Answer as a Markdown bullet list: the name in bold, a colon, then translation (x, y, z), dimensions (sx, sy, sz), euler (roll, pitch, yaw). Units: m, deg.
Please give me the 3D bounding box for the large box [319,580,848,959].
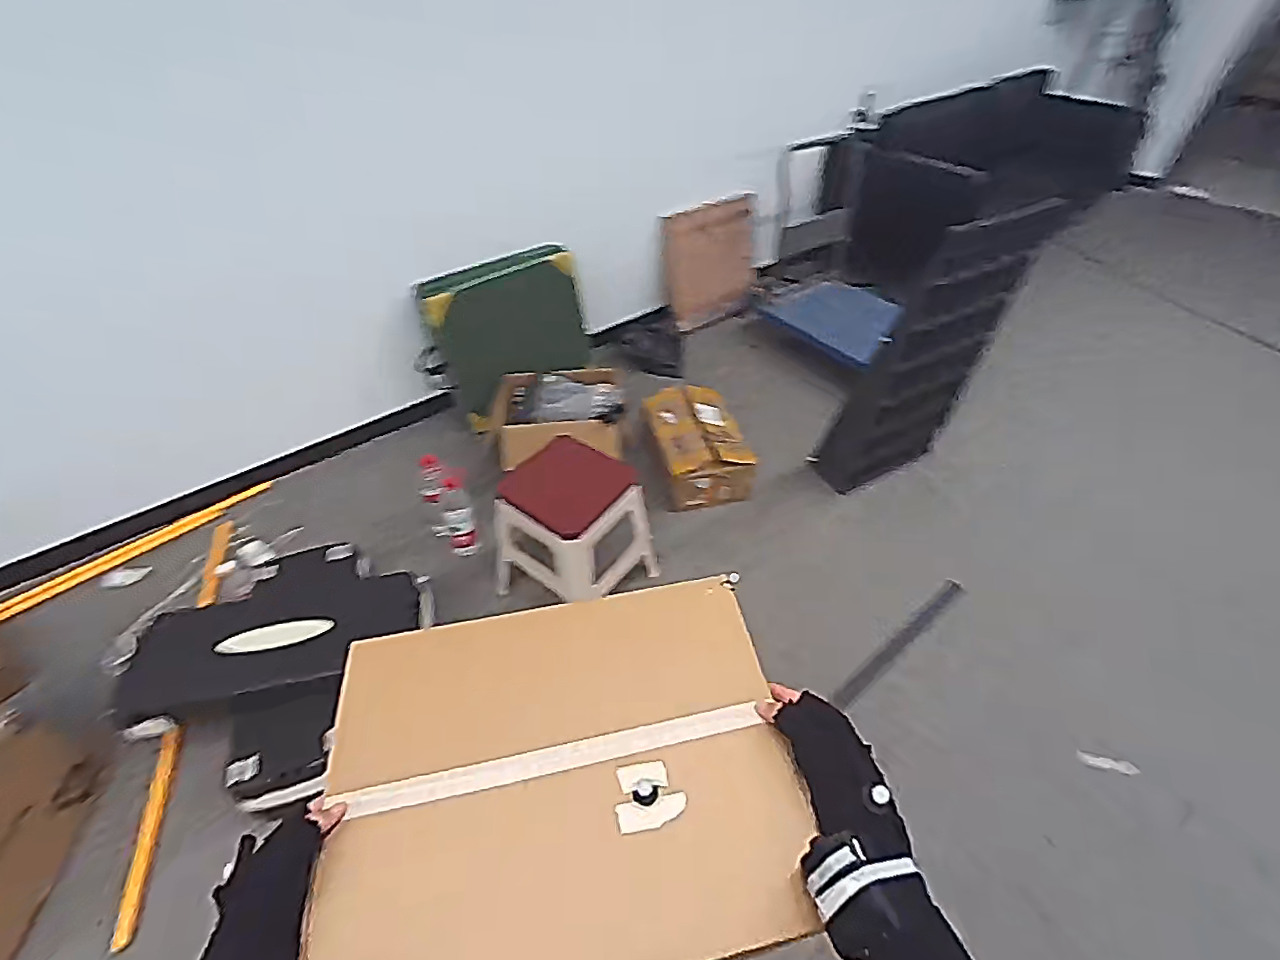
- **large box**: translation (-0.062, 0.352, 0.595), dimensions (0.408, 0.320, 0.320), euler (-7, 47, -8)
